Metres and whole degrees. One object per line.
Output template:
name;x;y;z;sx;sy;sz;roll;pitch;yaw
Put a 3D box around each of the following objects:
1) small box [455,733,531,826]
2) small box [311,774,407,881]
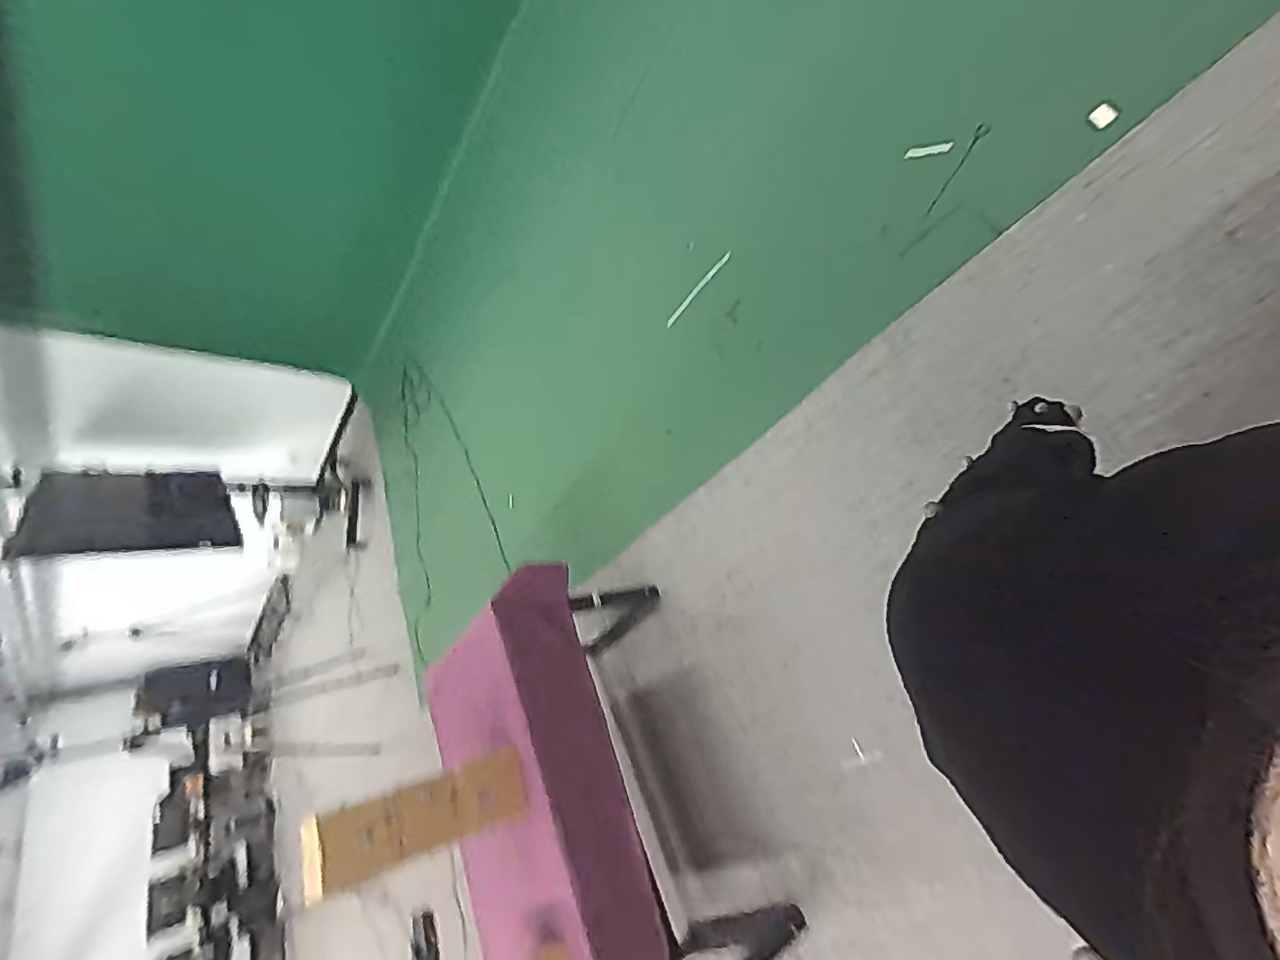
small box;-0.425;0.837;1.515;0.168;0.176;0.179;-40;60;38
small box;-0.671;0.830;1.300;0.179;0.176;0.168;-41;58;37
